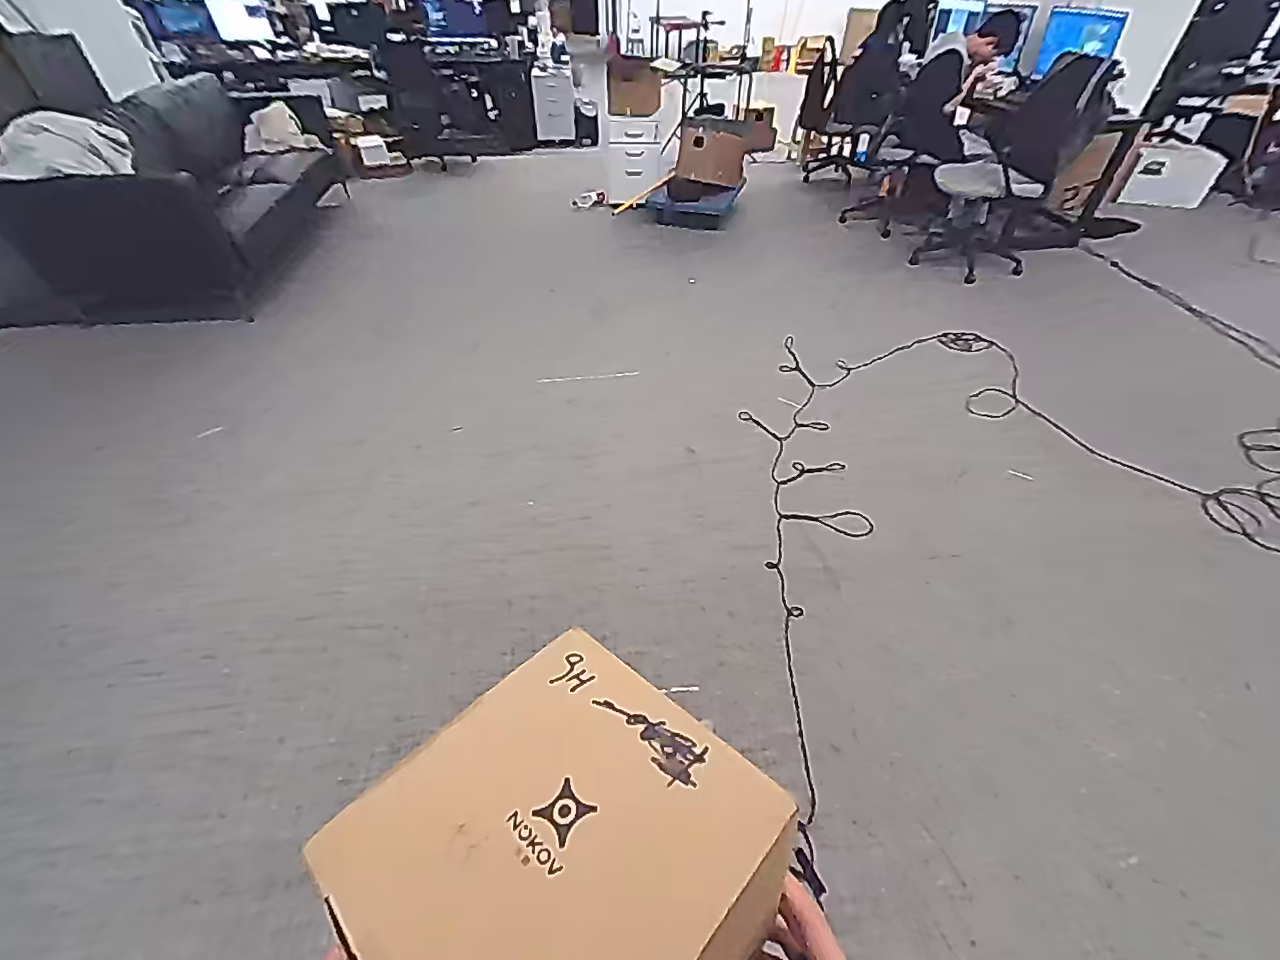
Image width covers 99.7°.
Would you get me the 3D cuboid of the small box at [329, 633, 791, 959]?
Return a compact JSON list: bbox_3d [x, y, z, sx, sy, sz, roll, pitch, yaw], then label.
[{"bbox_3d":[-0.032,0.235,0.312,0.168,0.176,0.179,25,45,36],"label":"small box"}]
